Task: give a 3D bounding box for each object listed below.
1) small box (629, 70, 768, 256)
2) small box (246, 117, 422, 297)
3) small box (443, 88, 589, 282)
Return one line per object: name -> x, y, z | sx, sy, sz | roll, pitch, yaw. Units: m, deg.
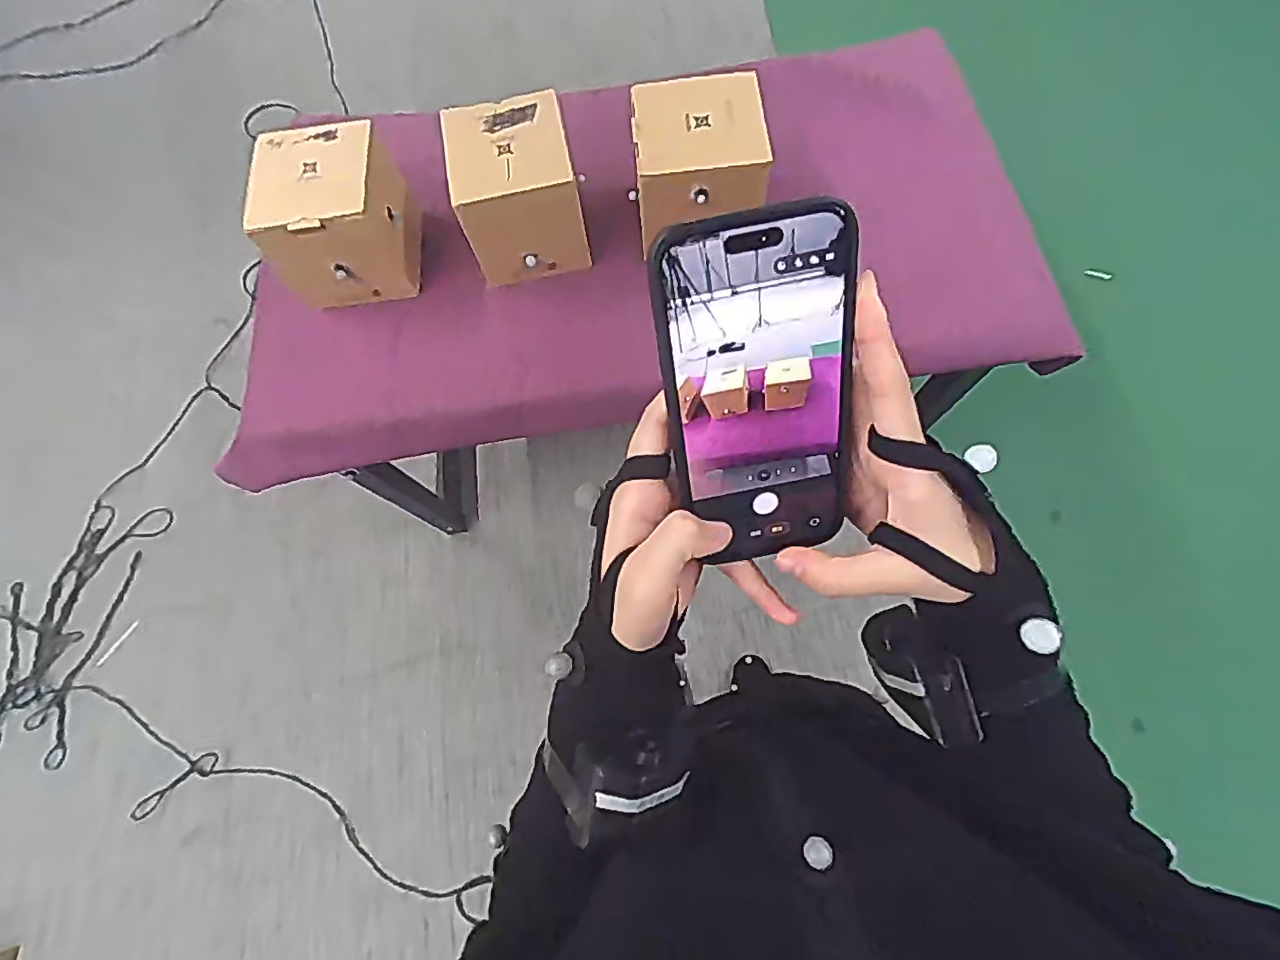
small box -> 0.081, -0.455, 0.798 | 0.179, 0.176, 0.168 | -4, 72, 2
small box -> -0.443, -0.395, 0.812 | 0.168, 0.176, 0.179 | -7, 72, 2
small box -> -0.177, -0.431, 0.806 | 0.168, 0.176, 0.179 | -12, 72, 0
